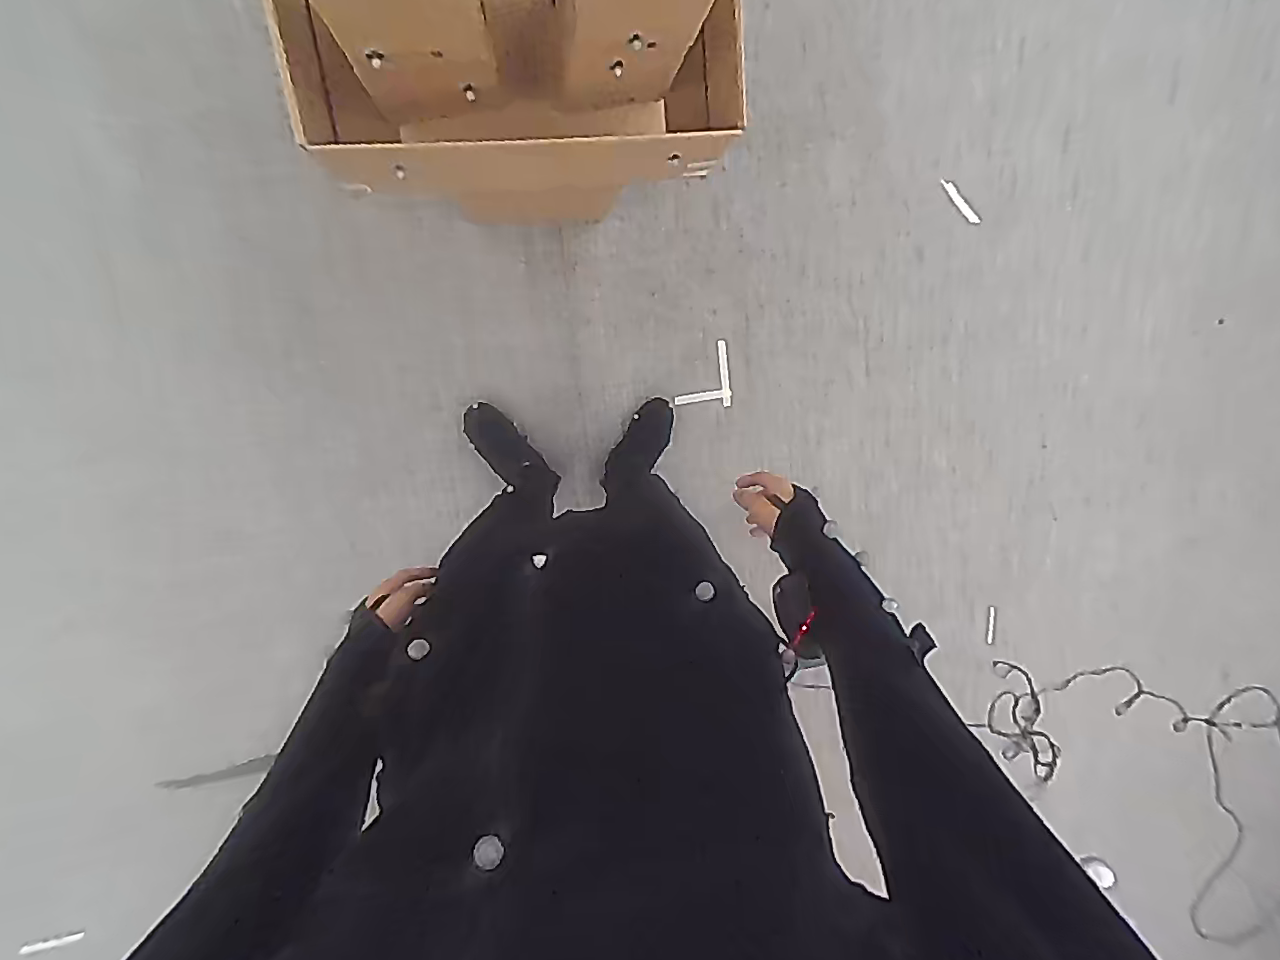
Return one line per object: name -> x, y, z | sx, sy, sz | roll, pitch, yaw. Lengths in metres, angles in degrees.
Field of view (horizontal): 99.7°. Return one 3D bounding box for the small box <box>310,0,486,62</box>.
small box -> -0.271, -0.586, 0.579 | 0.168, 0.176, 0.179 | -12, 103, -8
